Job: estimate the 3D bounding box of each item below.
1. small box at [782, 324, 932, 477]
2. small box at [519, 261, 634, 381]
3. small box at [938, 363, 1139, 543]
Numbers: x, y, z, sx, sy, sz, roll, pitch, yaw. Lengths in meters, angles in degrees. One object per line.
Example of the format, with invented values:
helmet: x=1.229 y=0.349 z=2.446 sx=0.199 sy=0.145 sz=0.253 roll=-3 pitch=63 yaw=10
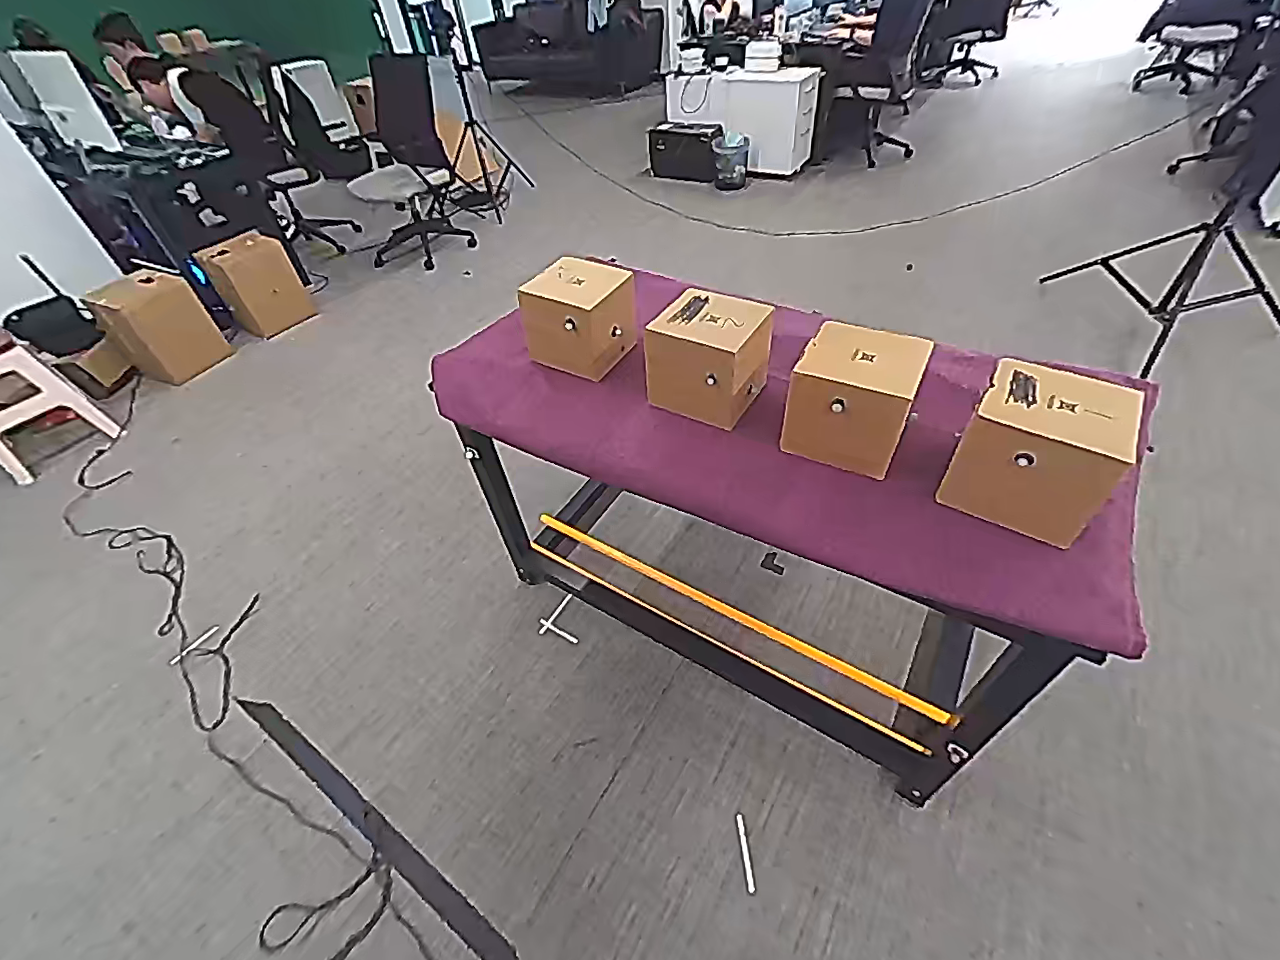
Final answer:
small box: x=0.351 y=-0.129 z=0.895 sx=0.179 sy=0.176 sz=0.168 roll=20 pitch=51 yaw=24
small box: x=-0.122 y=-0.332 z=1.137 sx=0.179 sy=0.176 sz=0.168 roll=22 pitch=51 yaw=22
small box: x=0.560 y=-0.039 z=0.778 sx=0.179 sy=0.176 sz=0.168 roll=25 pitch=52 yaw=27
